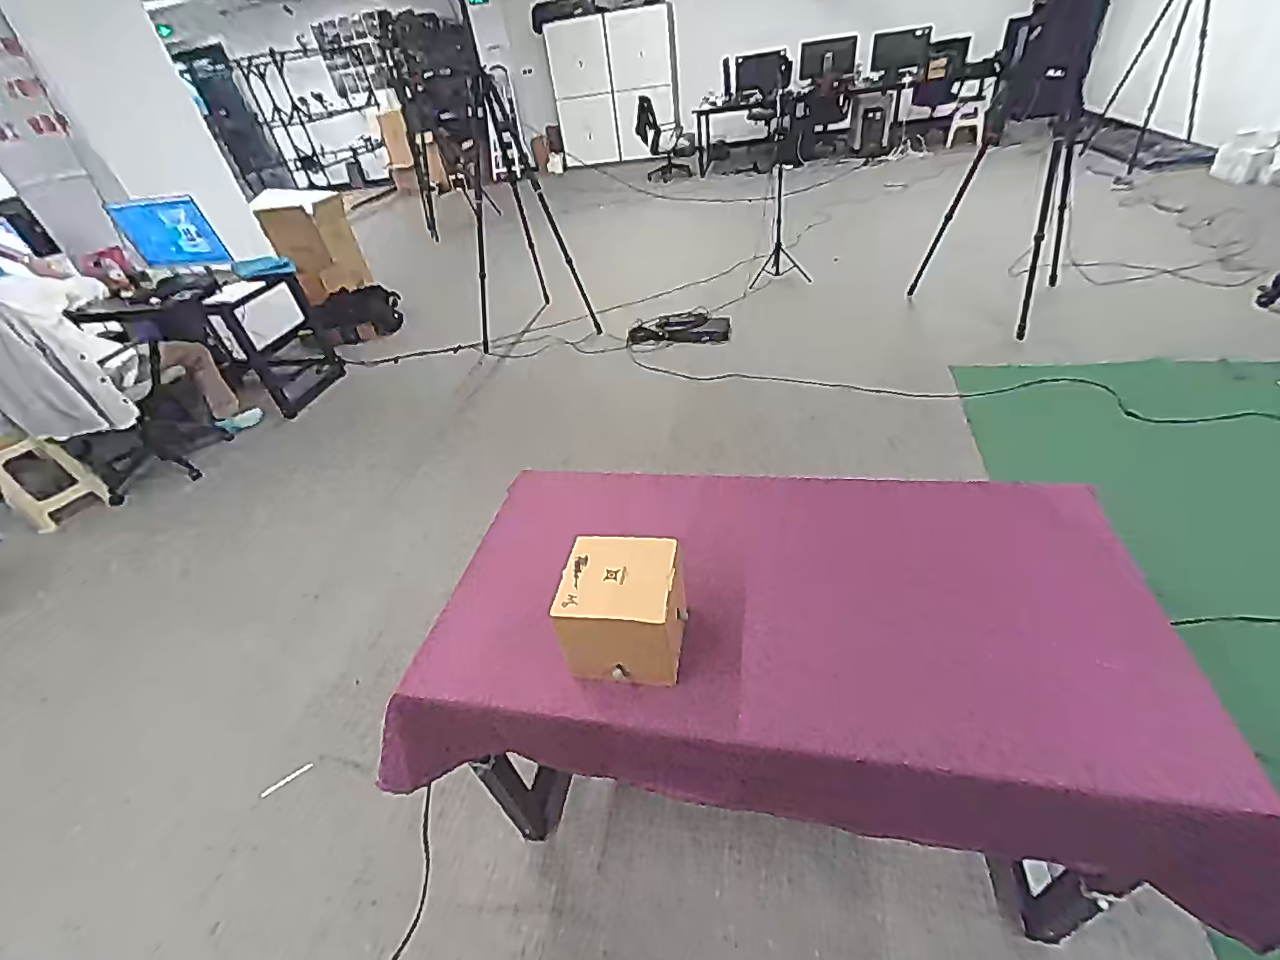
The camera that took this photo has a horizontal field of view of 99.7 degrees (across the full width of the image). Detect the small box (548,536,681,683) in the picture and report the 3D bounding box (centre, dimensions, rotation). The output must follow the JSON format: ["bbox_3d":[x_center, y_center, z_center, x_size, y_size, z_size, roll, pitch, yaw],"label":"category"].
[{"bbox_3d":[-0.029,0.212,0.887,0.179,0.176,0.168,1,40,12],"label":"small box"}]
